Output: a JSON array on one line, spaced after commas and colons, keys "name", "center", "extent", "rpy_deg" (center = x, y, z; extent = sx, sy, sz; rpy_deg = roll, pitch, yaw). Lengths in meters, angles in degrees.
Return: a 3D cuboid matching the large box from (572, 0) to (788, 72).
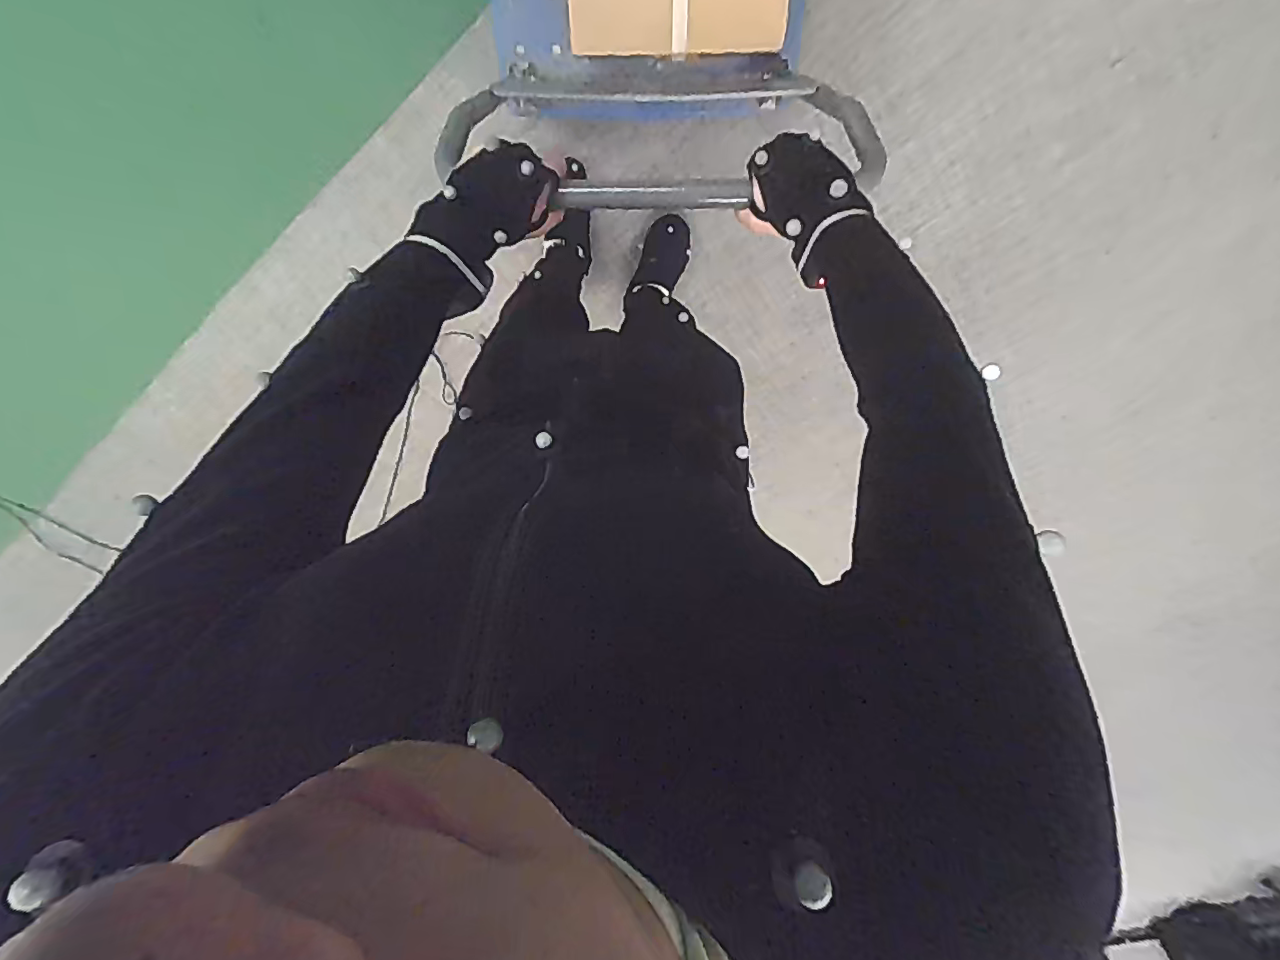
[{"name": "large box", "center": [0.057, -0.875, 0.819], "extent": [0.320, 0.320, 0.408], "rpy_deg": [-1, 127, 0]}]
